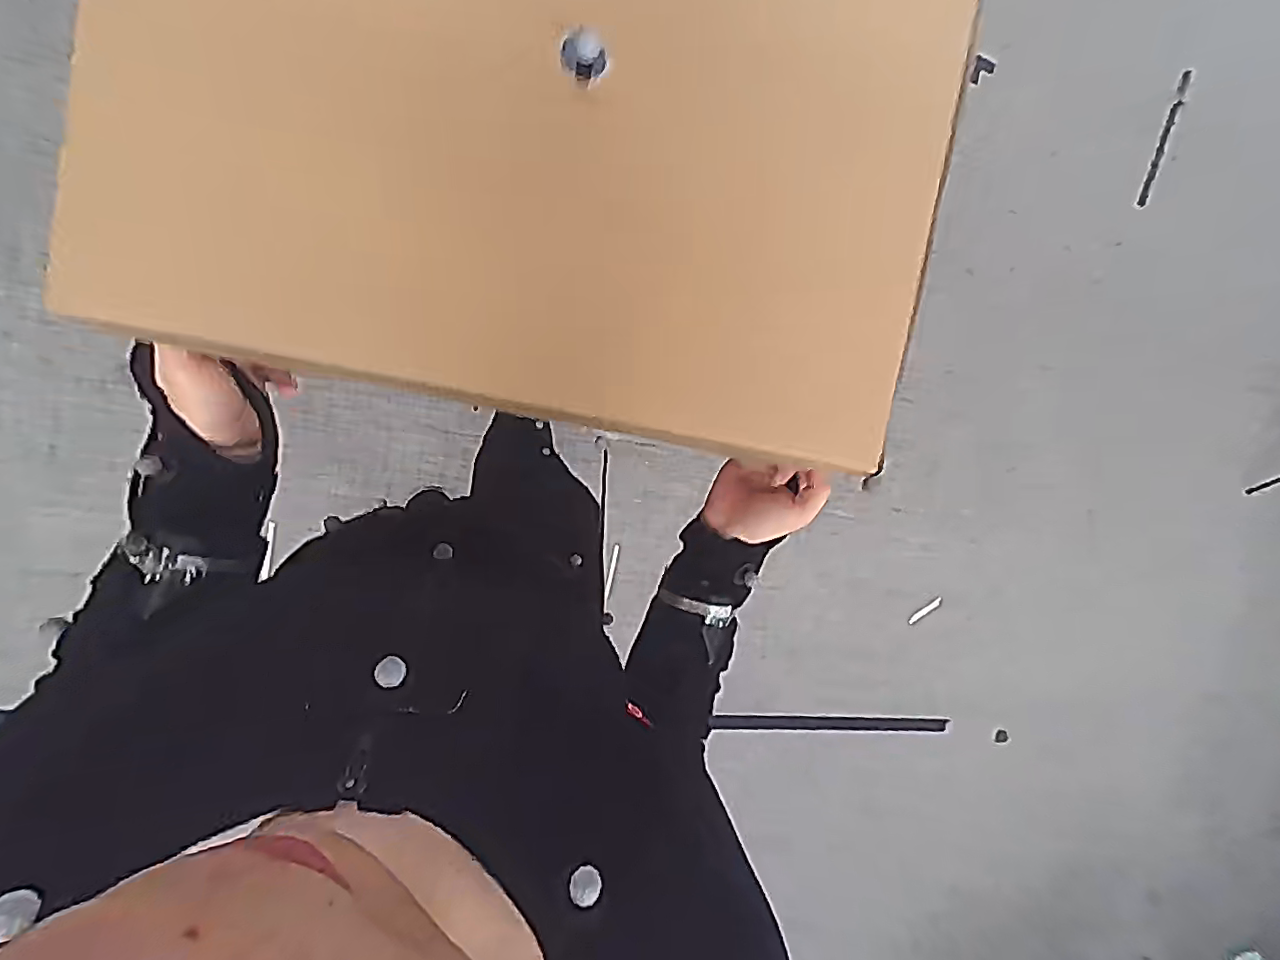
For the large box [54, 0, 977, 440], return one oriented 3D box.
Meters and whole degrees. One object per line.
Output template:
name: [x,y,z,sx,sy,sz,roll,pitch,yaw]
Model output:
large box: [-0.054,-0.220,0.393,0.408,0.320,0.320,9,95,-12]
